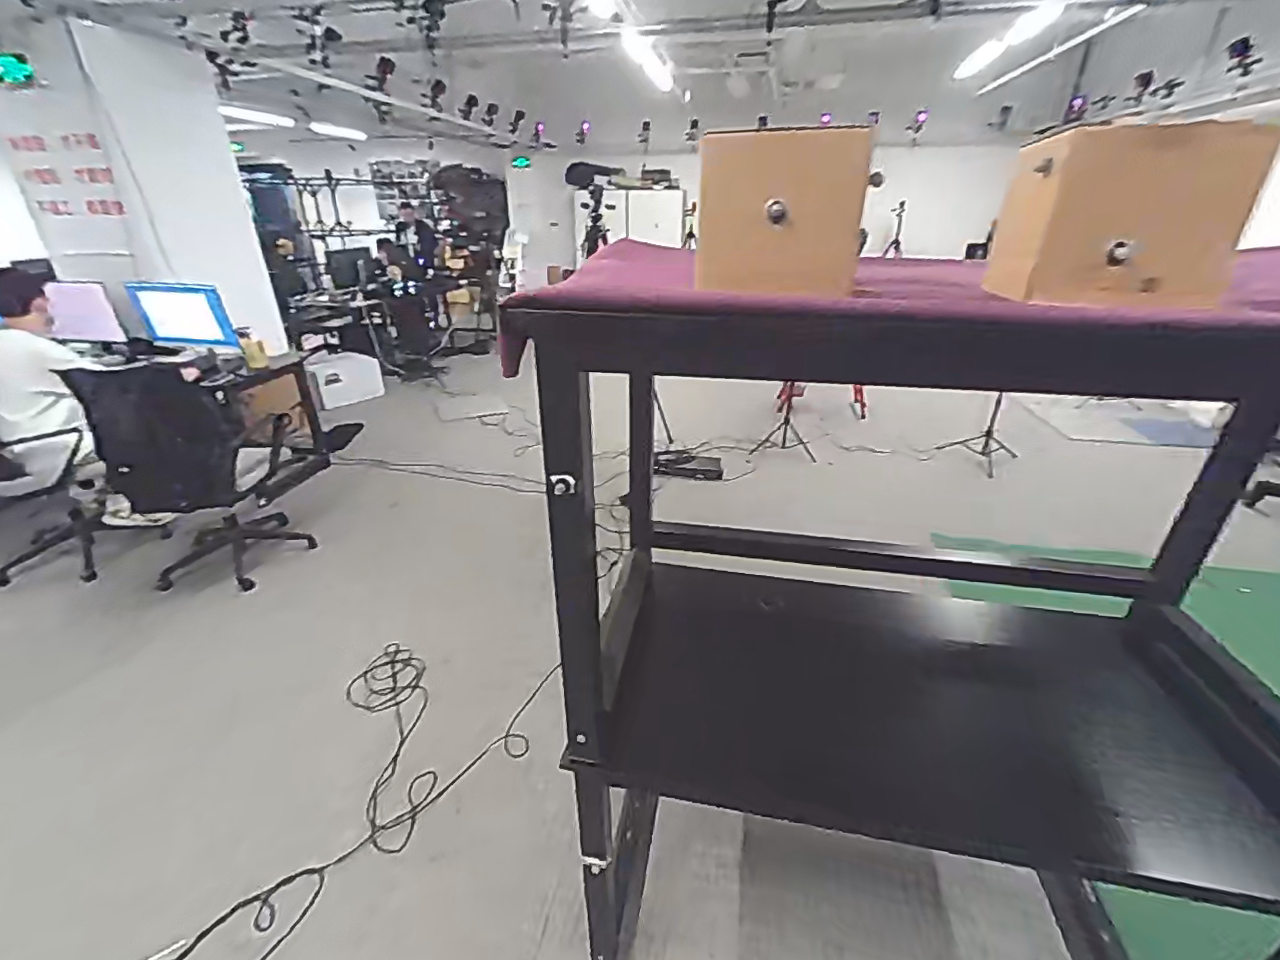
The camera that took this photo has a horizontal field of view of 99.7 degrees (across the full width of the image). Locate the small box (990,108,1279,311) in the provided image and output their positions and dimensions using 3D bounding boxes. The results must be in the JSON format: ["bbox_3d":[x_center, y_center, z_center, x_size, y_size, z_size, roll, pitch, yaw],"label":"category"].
[{"bbox_3d":[0.511,-0.286,0.588,0.168,0.176,0.179,7,26,15],"label":"small box"}]
